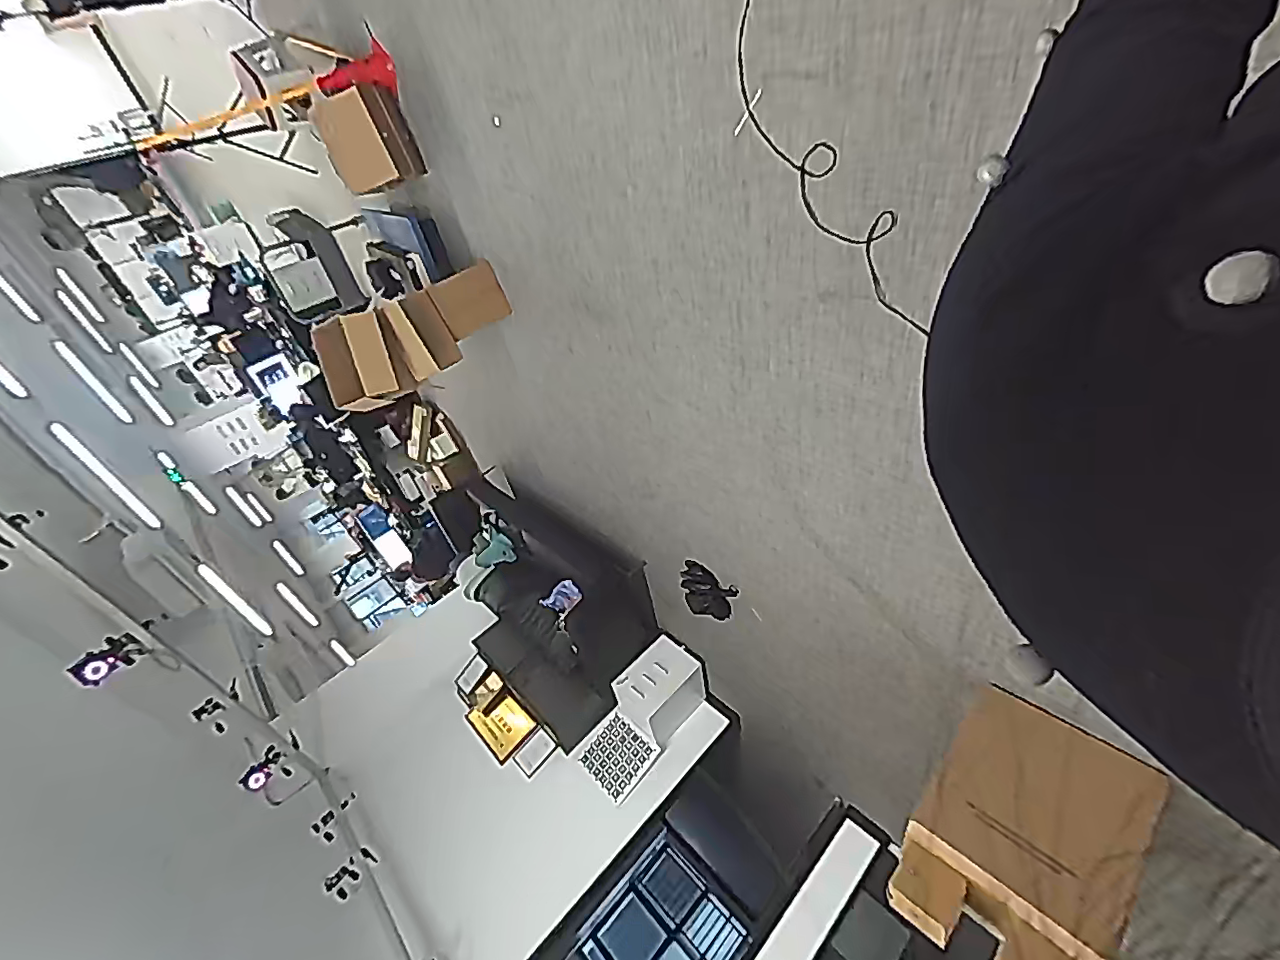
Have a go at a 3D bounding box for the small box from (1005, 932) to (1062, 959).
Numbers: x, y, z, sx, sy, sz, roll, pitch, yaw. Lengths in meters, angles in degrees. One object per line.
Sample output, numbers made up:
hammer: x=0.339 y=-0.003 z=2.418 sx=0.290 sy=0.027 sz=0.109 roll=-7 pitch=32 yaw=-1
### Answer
small box: x=1.131 y=1.435 z=1.517 sx=0.179 sy=0.176 sz=0.168 roll=30 pitch=142 yaw=40

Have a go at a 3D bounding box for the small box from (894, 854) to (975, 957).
small box: x=0.935 y=1.340 z=1.722 sx=0.179 sy=0.176 sz=0.168 roll=19 pitch=136 yaw=47
